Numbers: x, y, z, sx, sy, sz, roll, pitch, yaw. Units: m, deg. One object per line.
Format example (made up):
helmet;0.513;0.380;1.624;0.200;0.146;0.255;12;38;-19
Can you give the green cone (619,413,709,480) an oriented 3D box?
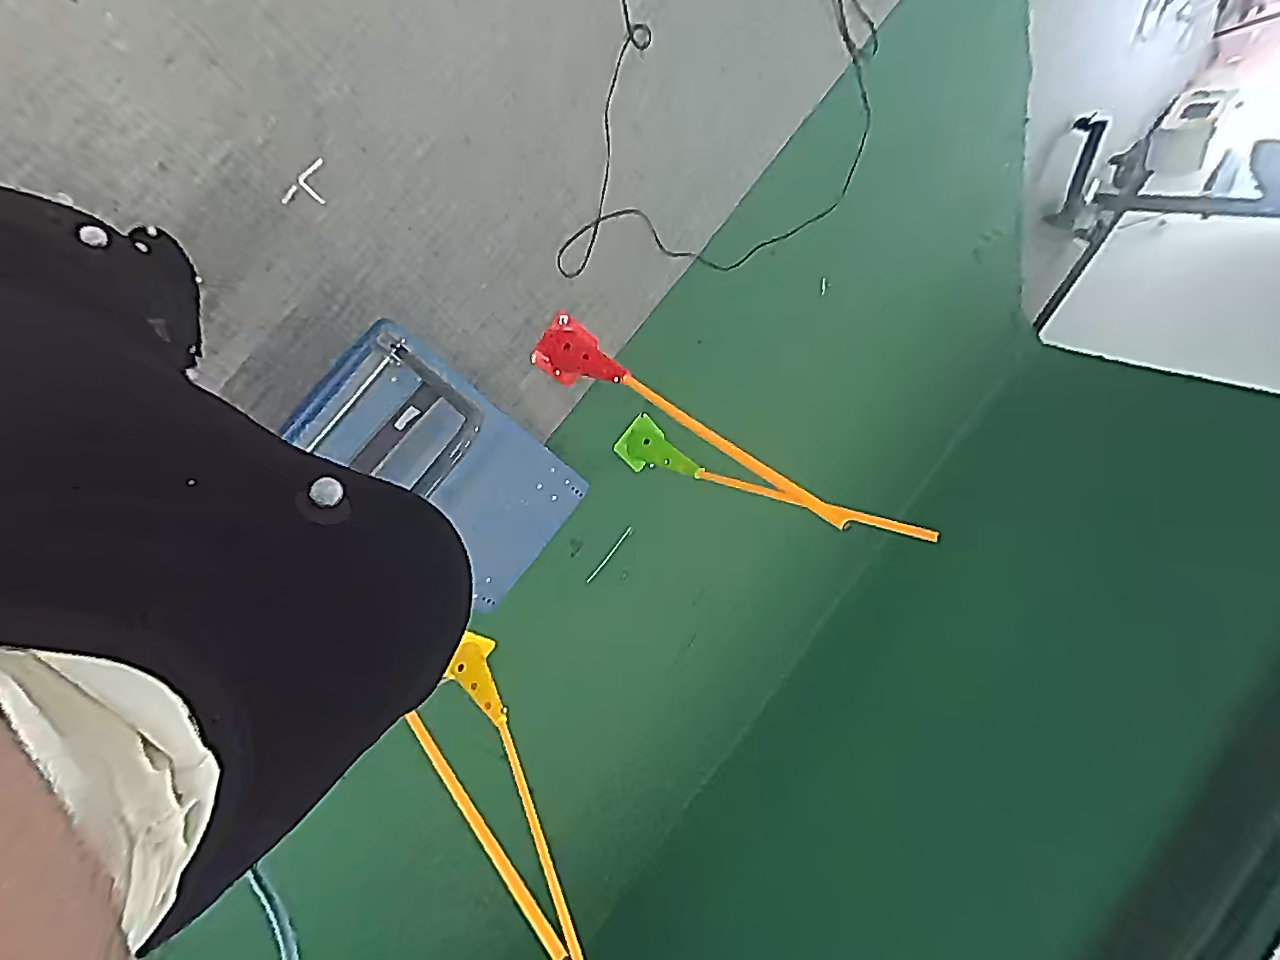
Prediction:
green cone;0.123;-0.087;2.099;0.200;0.368;0.202;-53;138;-5
